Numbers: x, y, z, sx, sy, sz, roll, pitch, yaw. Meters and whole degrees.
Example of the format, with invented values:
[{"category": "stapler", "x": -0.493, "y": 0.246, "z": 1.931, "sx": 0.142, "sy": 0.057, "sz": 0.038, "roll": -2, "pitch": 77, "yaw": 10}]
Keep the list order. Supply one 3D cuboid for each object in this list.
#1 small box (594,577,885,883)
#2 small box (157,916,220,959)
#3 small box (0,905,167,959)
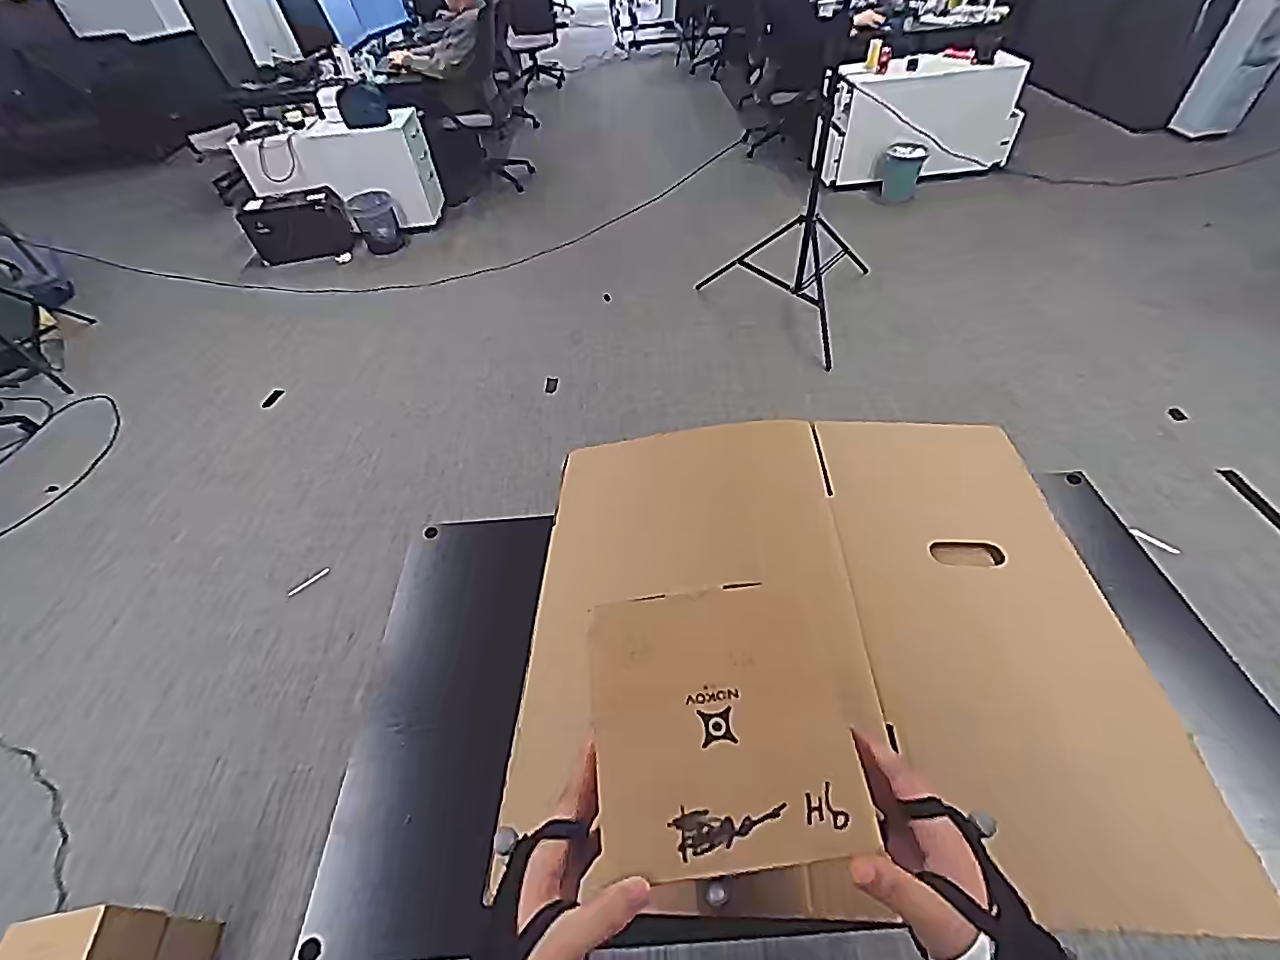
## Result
[{"category": "small box", "x": 0.060, "y": 0.199, "z": 0.424, "sx": 0.168, "sy": 0.176, "sz": 0.179, "roll": -9, "pitch": 55, "yaw": 2}, {"category": "small box", "x": -1.002, "y": 1.008, "z": 1.089, "sx": 0.168, "sy": 0.176, "sz": 0.179, "roll": -8, "pitch": 49, "yaw": -2}, {"category": "small box", "x": -1.015, "y": 0.896, "z": 0.972, "sx": 0.168, "sy": 0.176, "sz": 0.179, "roll": -10, "pitch": 47, "yaw": -5}]
